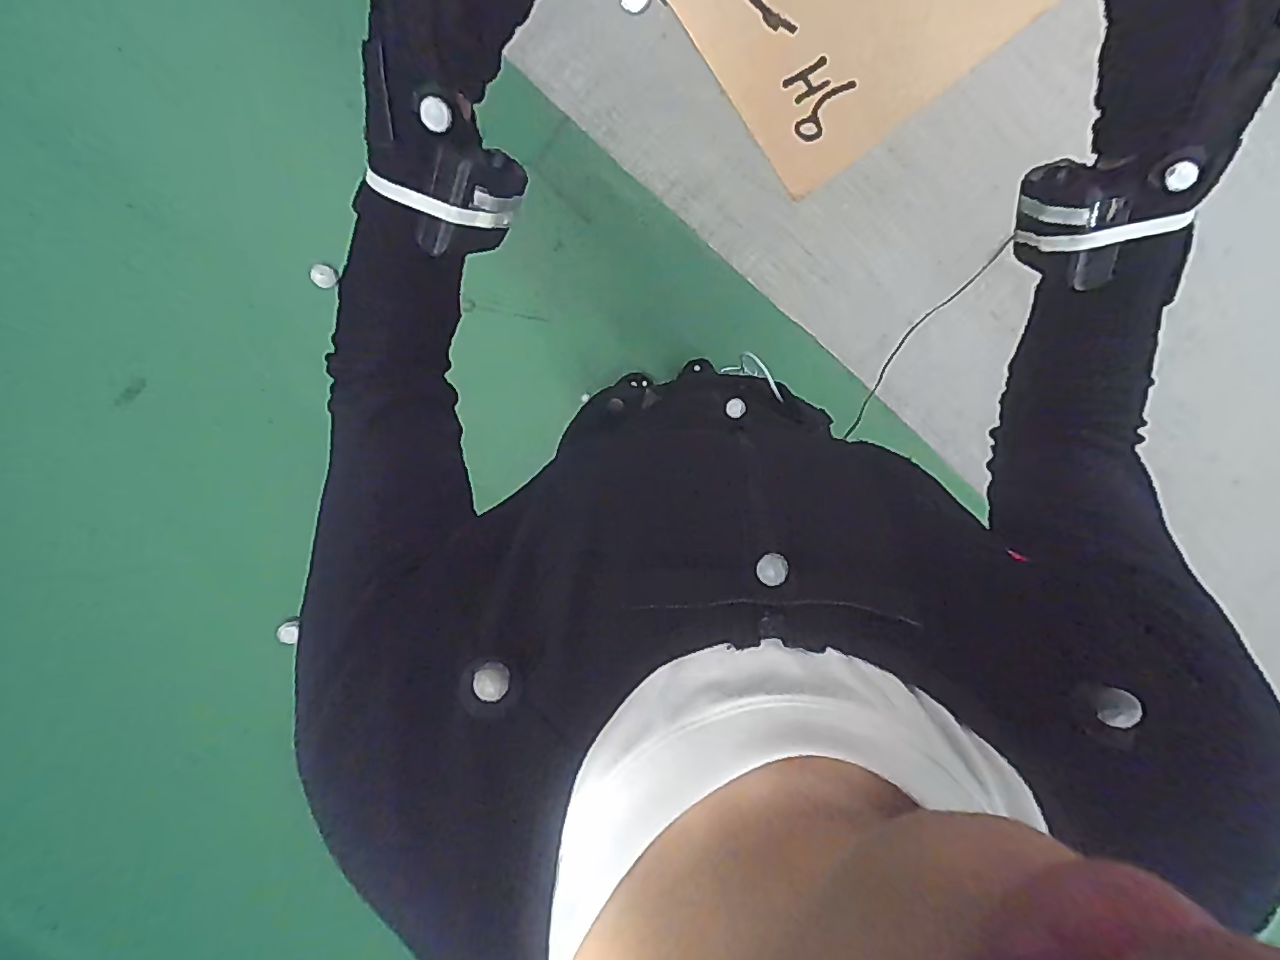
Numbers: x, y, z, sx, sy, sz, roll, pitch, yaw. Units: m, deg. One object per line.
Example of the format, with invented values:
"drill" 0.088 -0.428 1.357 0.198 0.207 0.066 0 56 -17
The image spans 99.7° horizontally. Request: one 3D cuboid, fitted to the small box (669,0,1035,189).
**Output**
"small box" 0.090 -0.266 0.225 0.179 0.176 0.168 -30 117 30
